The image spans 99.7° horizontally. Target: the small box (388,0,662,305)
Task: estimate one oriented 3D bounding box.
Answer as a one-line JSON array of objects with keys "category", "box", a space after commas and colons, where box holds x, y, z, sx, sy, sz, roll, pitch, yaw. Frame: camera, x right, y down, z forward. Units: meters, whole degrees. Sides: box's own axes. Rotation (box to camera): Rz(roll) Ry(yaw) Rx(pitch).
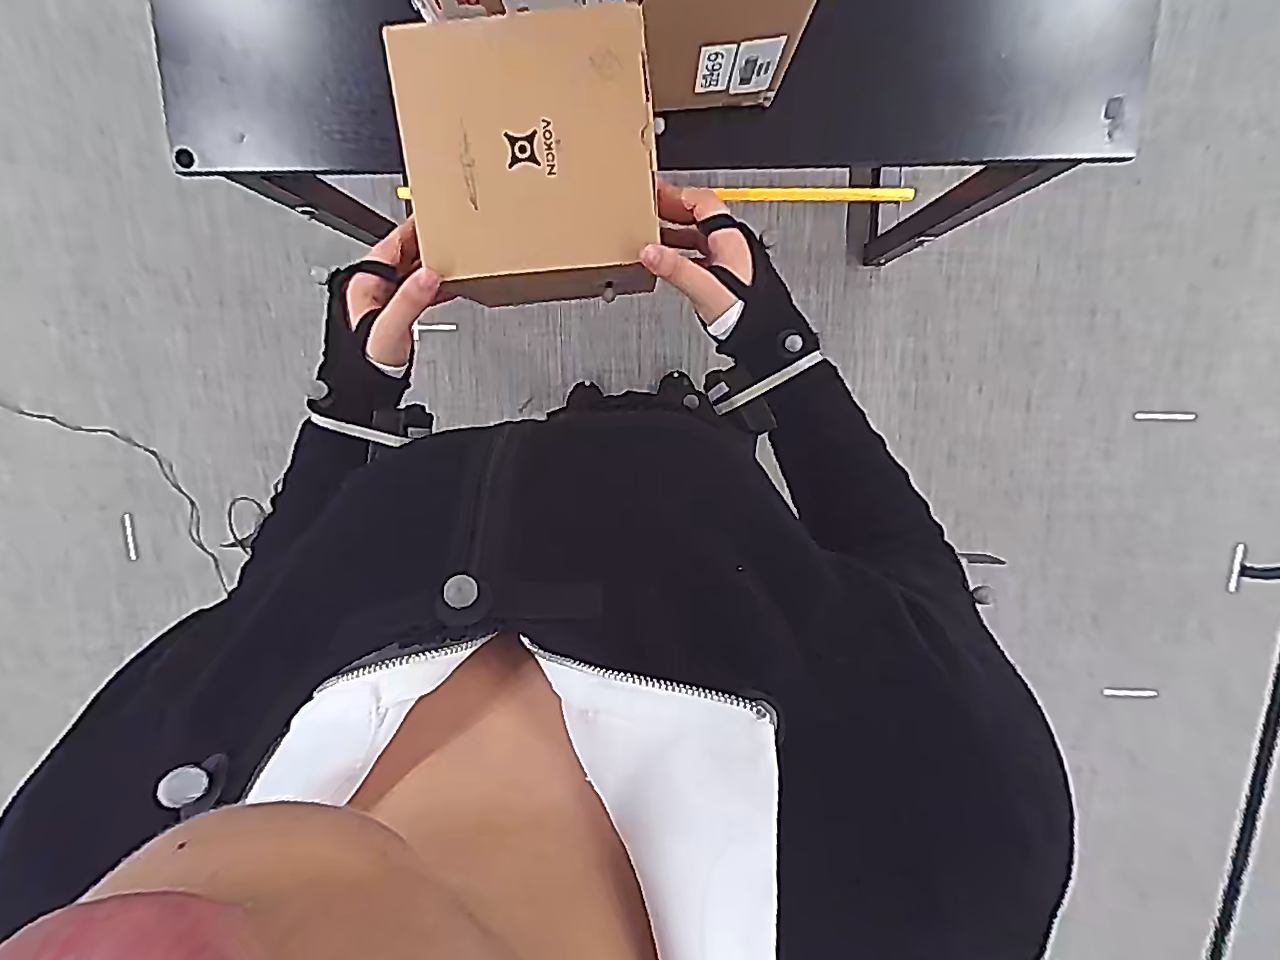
[{"category": "small box", "box": [-0.079, -0.251, 0.458, 0.179, 0.176, 0.168, -6, 99, 2]}]
